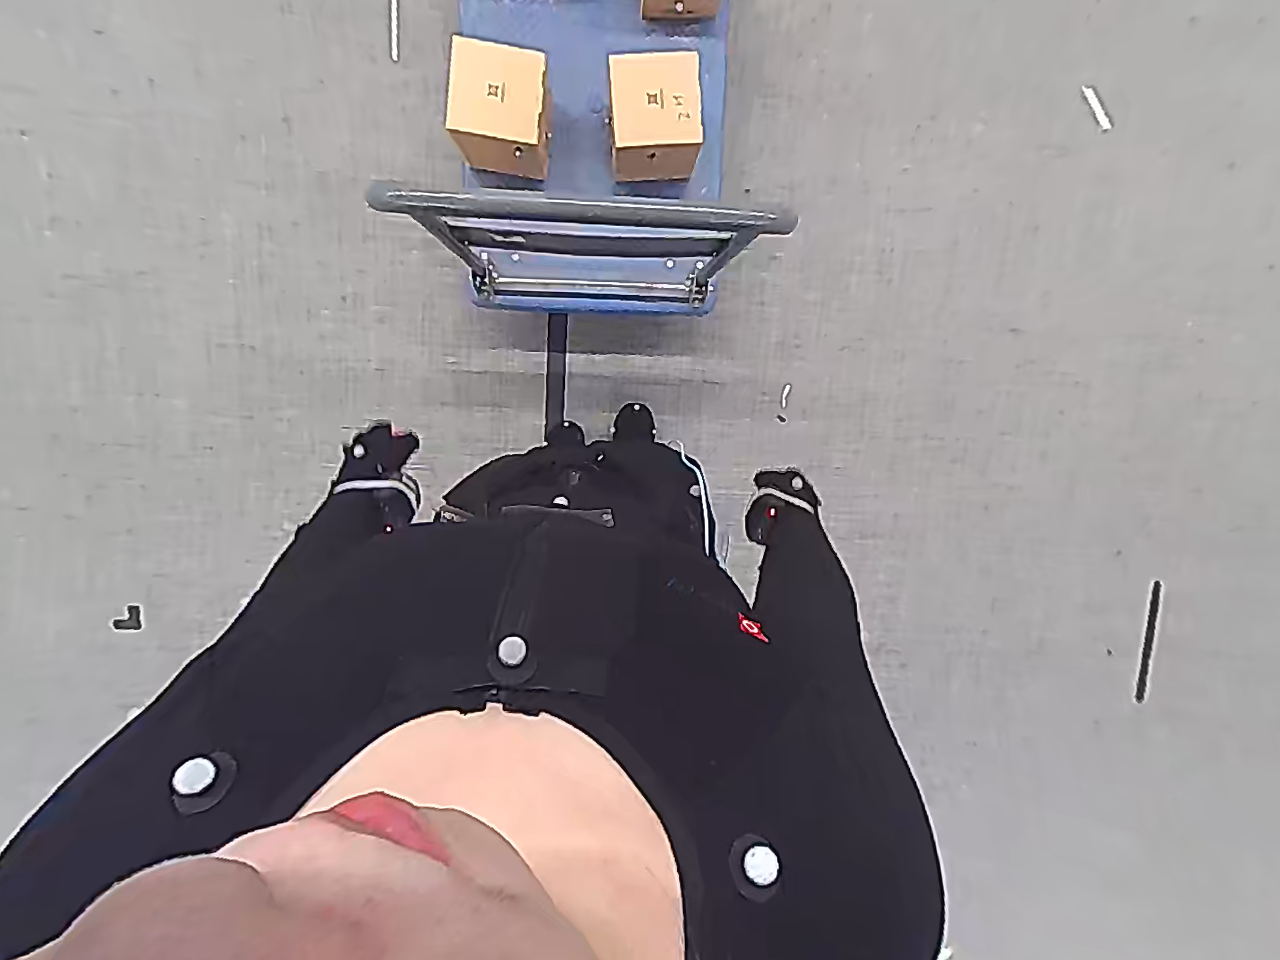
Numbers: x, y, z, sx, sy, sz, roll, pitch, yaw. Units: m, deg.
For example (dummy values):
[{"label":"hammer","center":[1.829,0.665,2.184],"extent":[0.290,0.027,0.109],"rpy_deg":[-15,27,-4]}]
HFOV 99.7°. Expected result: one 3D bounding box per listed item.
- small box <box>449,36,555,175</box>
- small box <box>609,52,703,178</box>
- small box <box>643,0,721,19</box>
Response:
[{"label":"small box","center":[-0.275,-0.752,1.105],"extent":[0.179,0.176,0.168],"rpy_deg":[7,98,-6]},{"label":"small box","center":[0.030,-0.748,1.125],"extent":[0.179,0.176,0.168],"rpy_deg":[-4,99,-3]},{"label":"small box","center":[0.090,-1.078,1.080],"extent":[0.168,0.176,0.179],"rpy_deg":[-2,100,-3]}]
